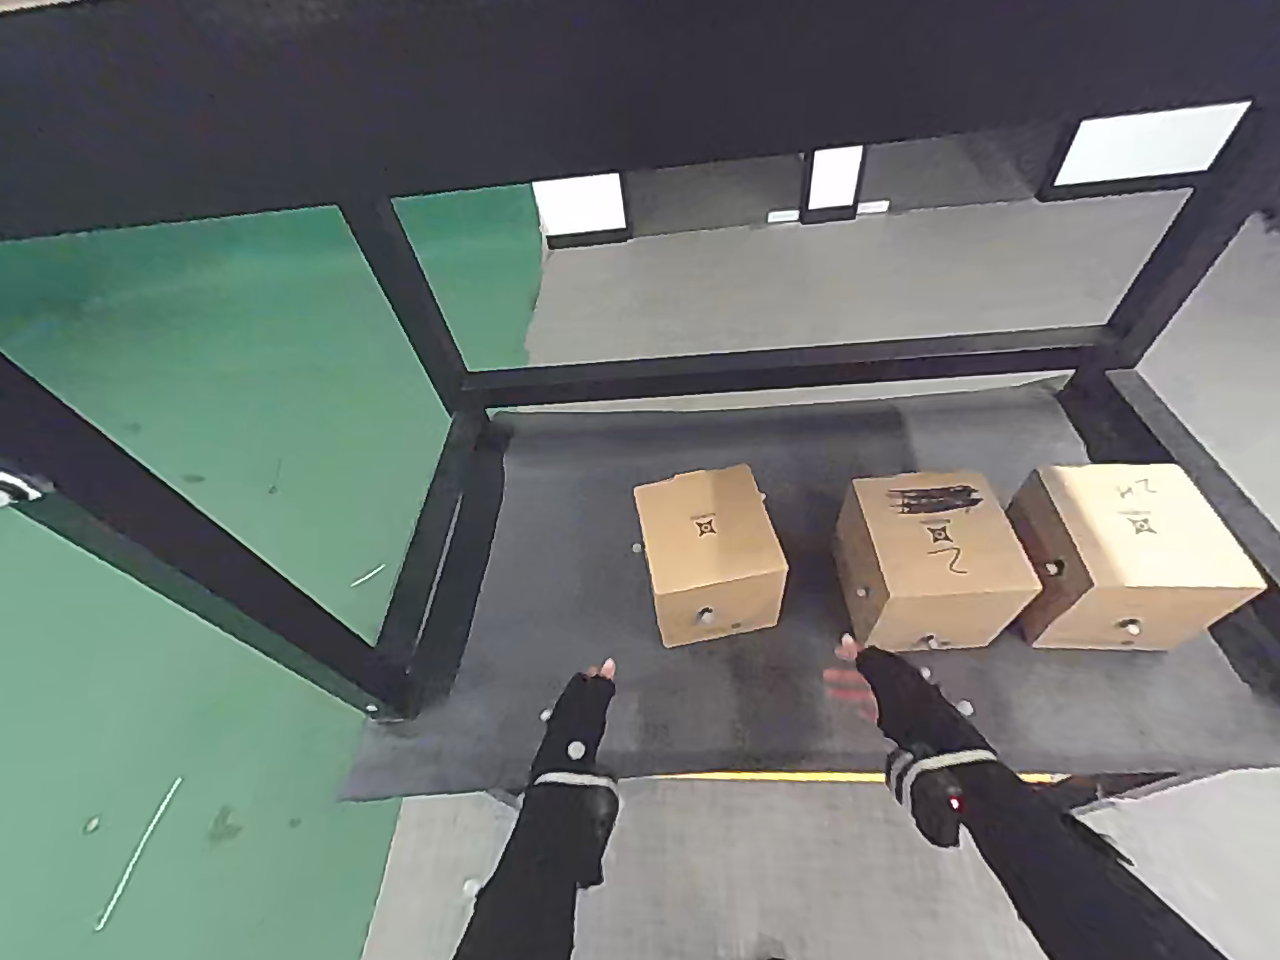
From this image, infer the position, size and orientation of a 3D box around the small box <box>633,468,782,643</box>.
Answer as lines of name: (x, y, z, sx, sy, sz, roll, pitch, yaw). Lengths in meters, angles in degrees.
small box: (0.091, 0.114, 0.765, 0.168, 0.176, 0.179, -11, 50, -1)
